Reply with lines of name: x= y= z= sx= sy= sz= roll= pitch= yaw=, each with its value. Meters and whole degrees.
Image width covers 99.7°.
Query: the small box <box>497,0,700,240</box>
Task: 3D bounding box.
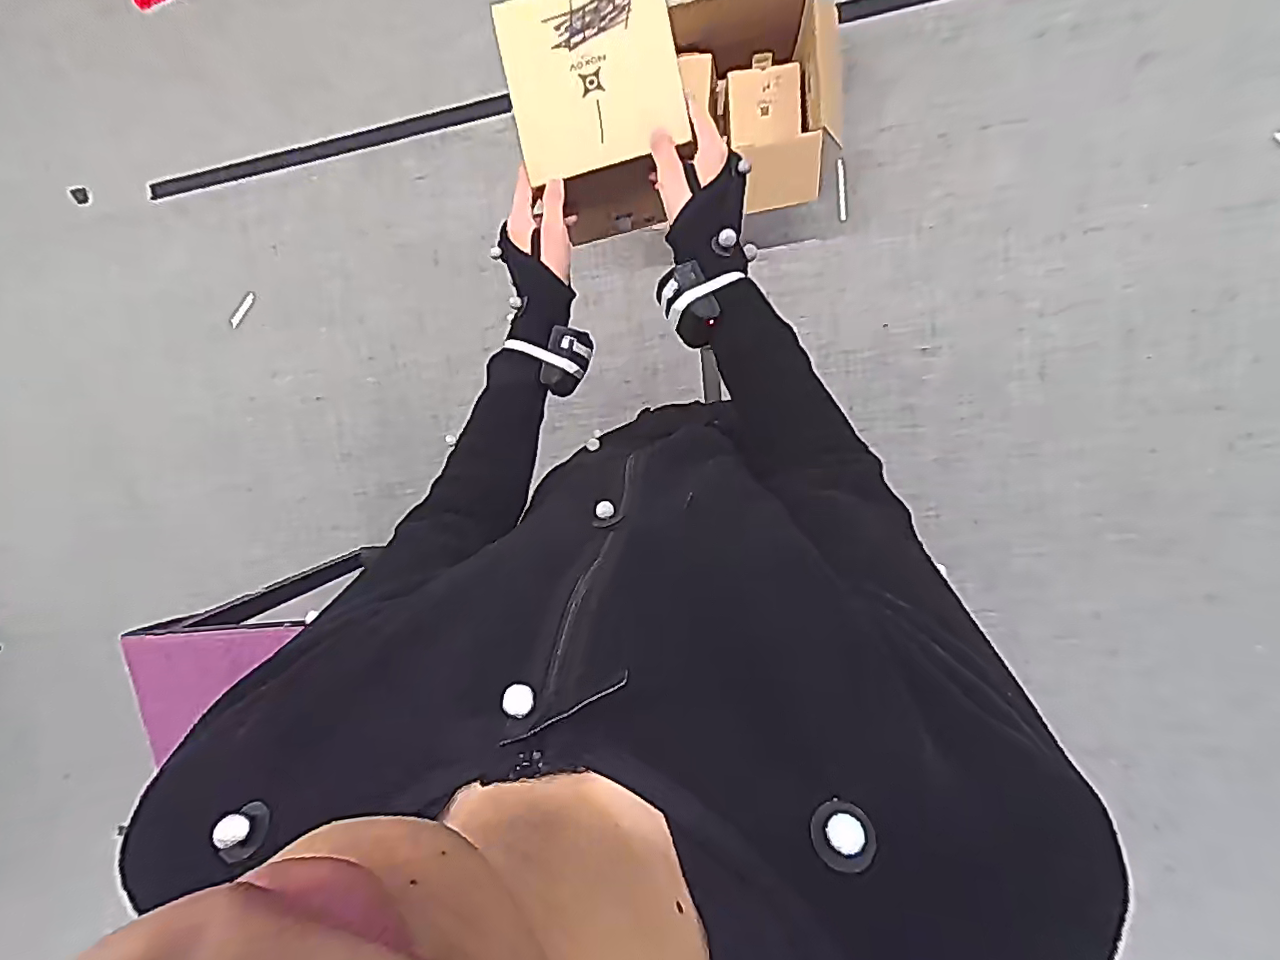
small box: x=-0.032 y=-0.392 z=0.585 sx=0.168 sy=0.176 sz=0.179 roll=-11 pitch=93 yaw=9
